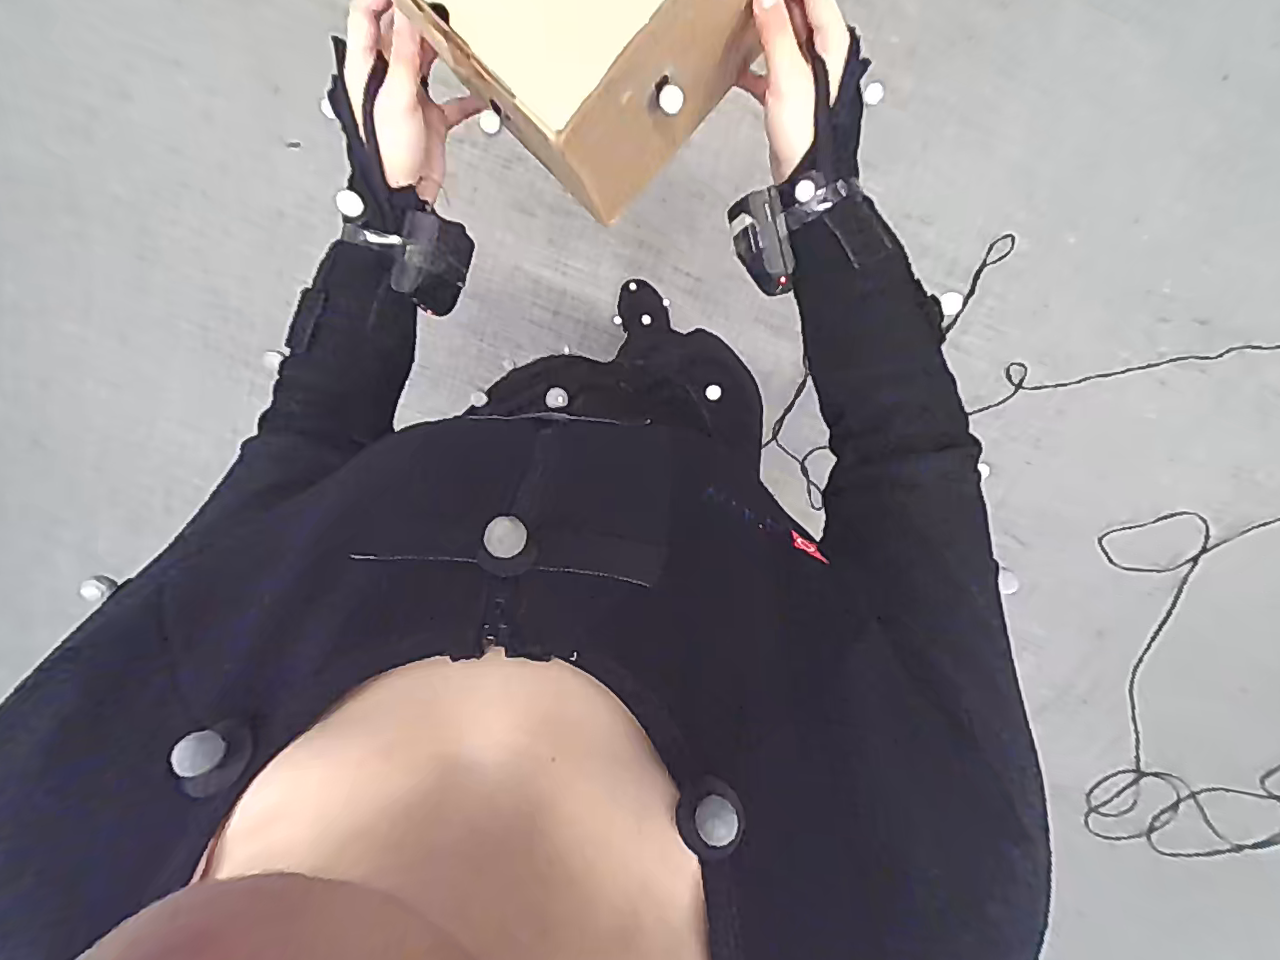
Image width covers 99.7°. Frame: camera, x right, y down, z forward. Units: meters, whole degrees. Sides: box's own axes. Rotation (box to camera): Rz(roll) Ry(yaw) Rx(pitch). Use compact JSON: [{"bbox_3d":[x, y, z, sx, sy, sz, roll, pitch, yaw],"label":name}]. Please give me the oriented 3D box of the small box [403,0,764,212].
[{"bbox_3d":[-0.032,-0.307,0.337,0.168,0.176,0.179,44,102,-3],"label":"small box"}]
